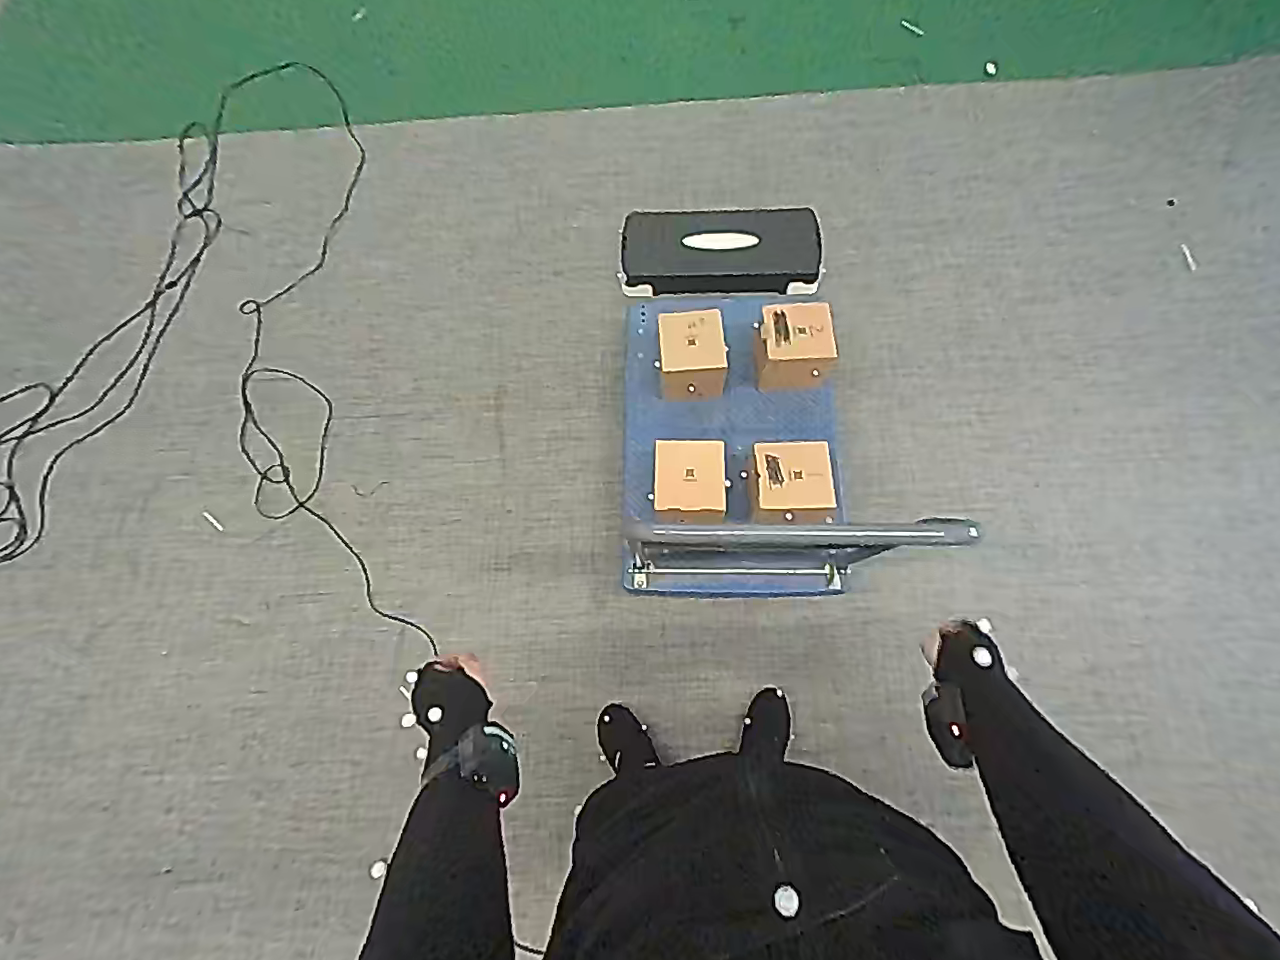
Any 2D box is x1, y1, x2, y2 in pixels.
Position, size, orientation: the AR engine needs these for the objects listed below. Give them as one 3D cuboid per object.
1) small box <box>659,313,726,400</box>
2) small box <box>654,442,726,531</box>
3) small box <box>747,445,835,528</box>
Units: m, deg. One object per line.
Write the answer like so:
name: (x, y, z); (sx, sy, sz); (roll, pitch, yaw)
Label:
small box: (0.139, -0.326, 1.465); (0.168, 0.176, 0.179); (-3, 71, 1)
small box: (0.120, 0.019, 1.346); (0.168, 0.176, 0.179); (1, 71, 2)
small box: (0.362, 0.021, 1.333); (0.179, 0.176, 0.168); (-1, 71, 2)
